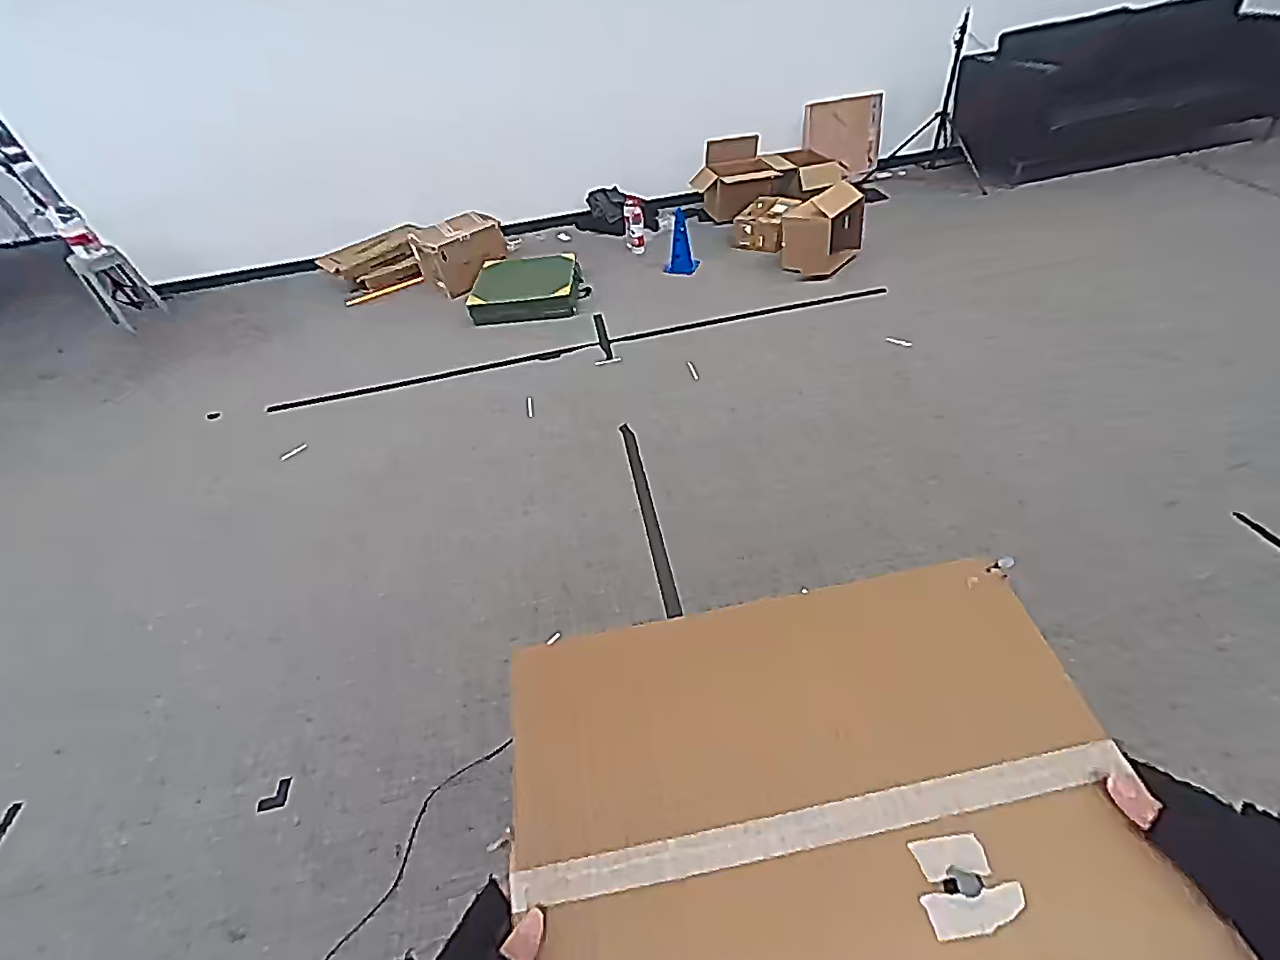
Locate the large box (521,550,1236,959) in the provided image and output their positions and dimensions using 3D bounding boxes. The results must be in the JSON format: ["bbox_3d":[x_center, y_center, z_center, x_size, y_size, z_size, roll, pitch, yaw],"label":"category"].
[{"bbox_3d":[0.135,0.311,0.492,0.408,0.320,0.320,-12,54,-2],"label":"large box"}]
